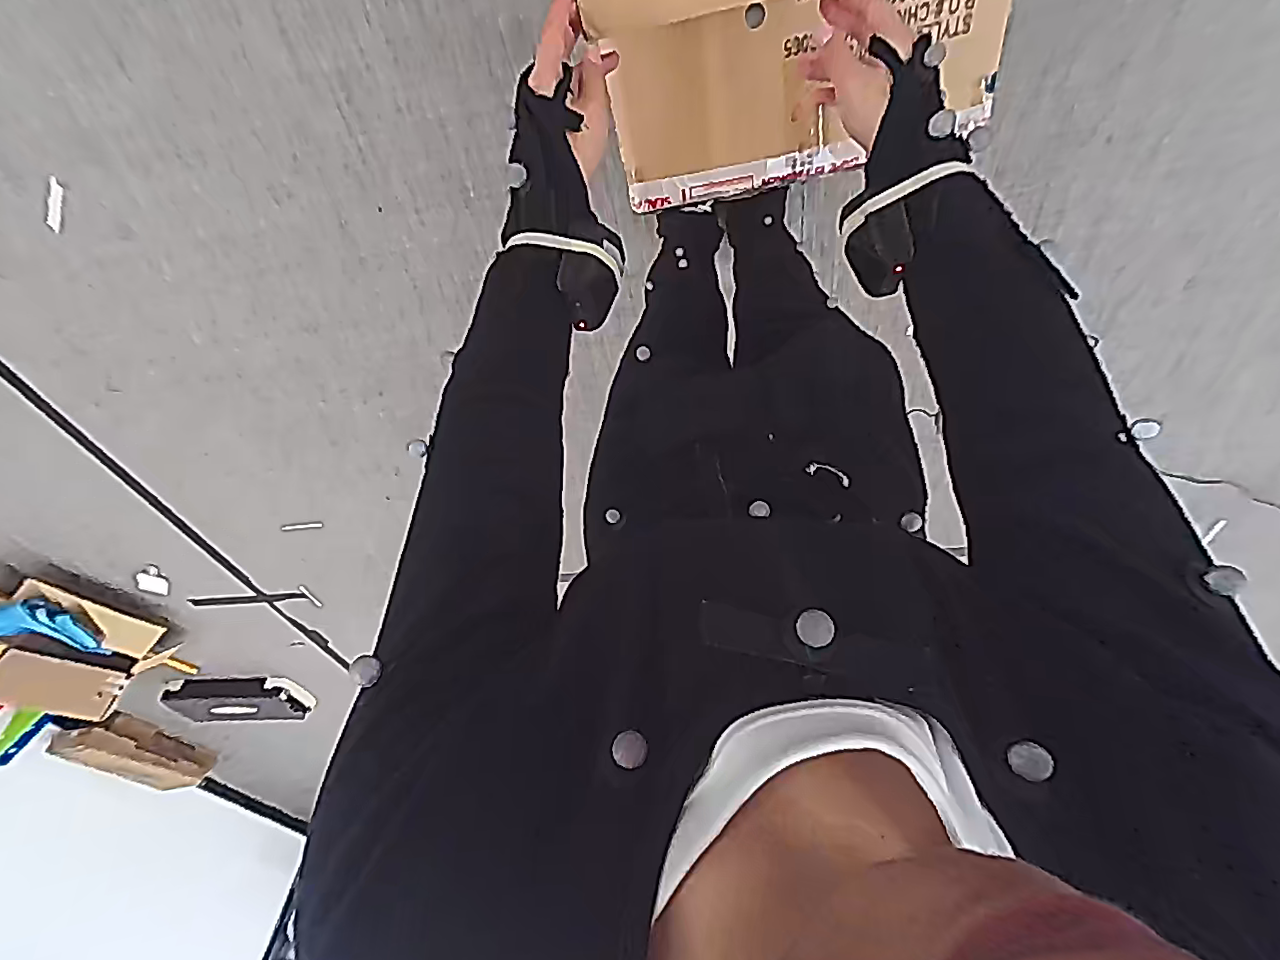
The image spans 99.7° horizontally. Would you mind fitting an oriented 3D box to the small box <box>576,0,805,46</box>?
[{"bbox_3d":[0.034,-0.448,0.393,0.179,0.176,0.168,-4,134,11],"label":"small box"}]
